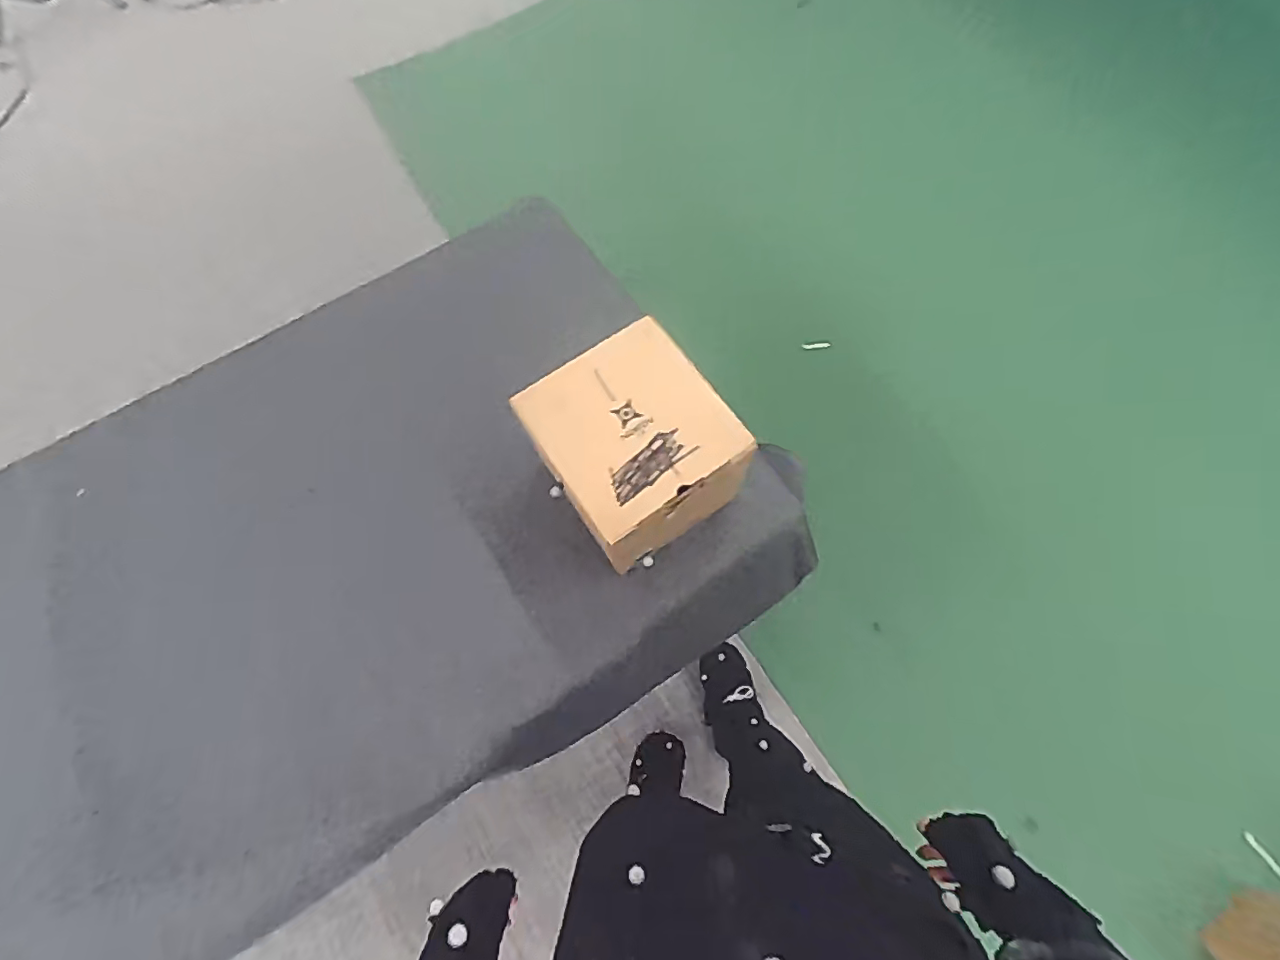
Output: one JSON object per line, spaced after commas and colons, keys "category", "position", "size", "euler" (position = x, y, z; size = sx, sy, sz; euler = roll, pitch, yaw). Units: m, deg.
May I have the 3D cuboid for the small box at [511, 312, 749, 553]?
{"category": "small box", "position": [-0.008, -0.036, 0.586], "size": [0.168, 0.176, 0.179], "euler": [-34, 73, -9]}
